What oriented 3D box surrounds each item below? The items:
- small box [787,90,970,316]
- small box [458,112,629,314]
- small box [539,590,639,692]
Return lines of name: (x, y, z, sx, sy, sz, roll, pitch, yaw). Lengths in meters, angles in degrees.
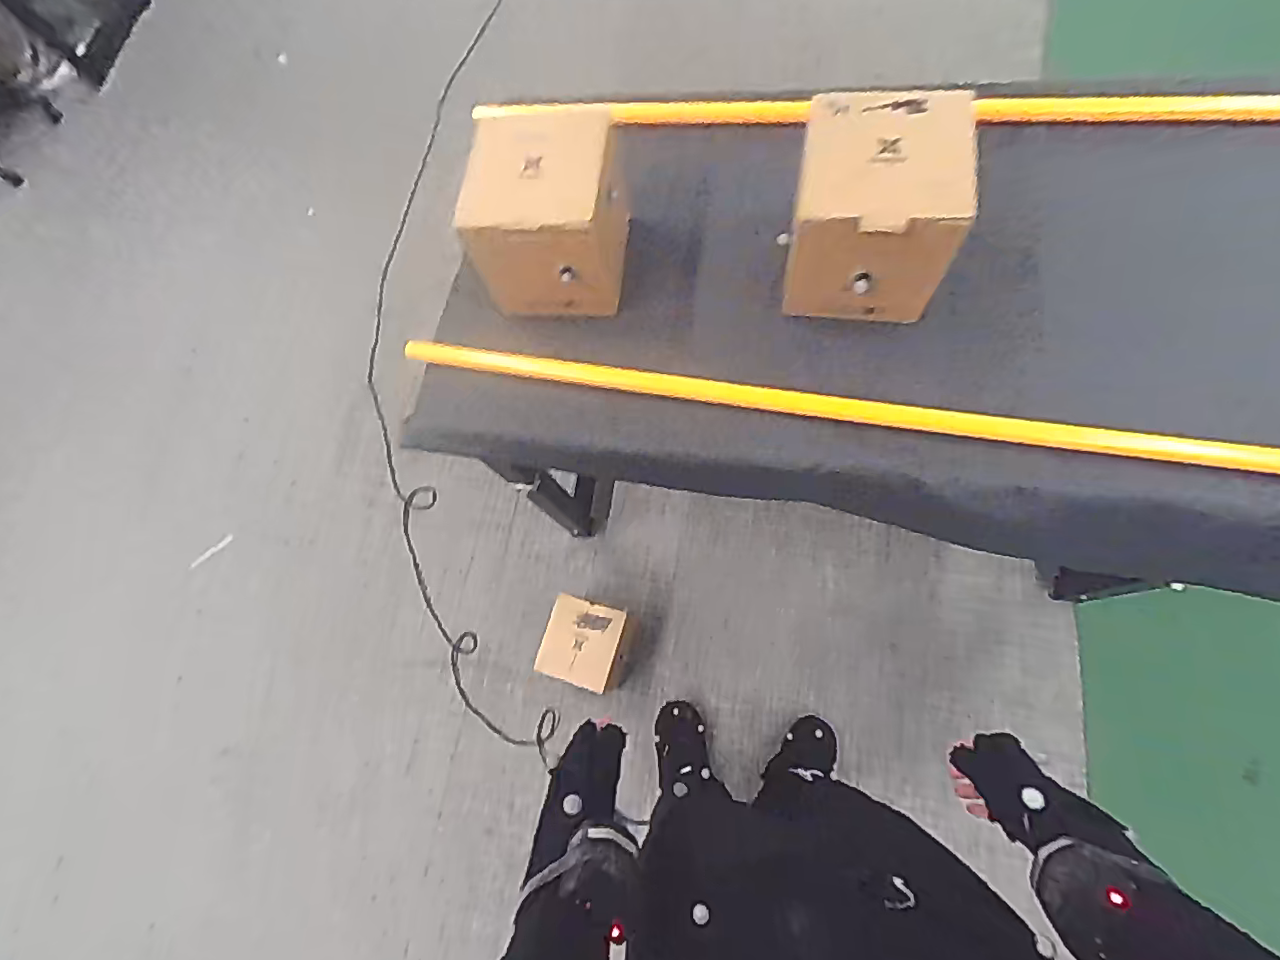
small box: (0.267, -0.311, 0.639, 0.168, 0.176, 0.179, 4, 71, 12)
small box: (-0.112, -0.336, 0.707, 0.168, 0.176, 0.179, 3, 70, 8)
small box: (-0.107, 0.370, 1.246, 0.168, 0.176, 0.179, 14, 75, 14)
